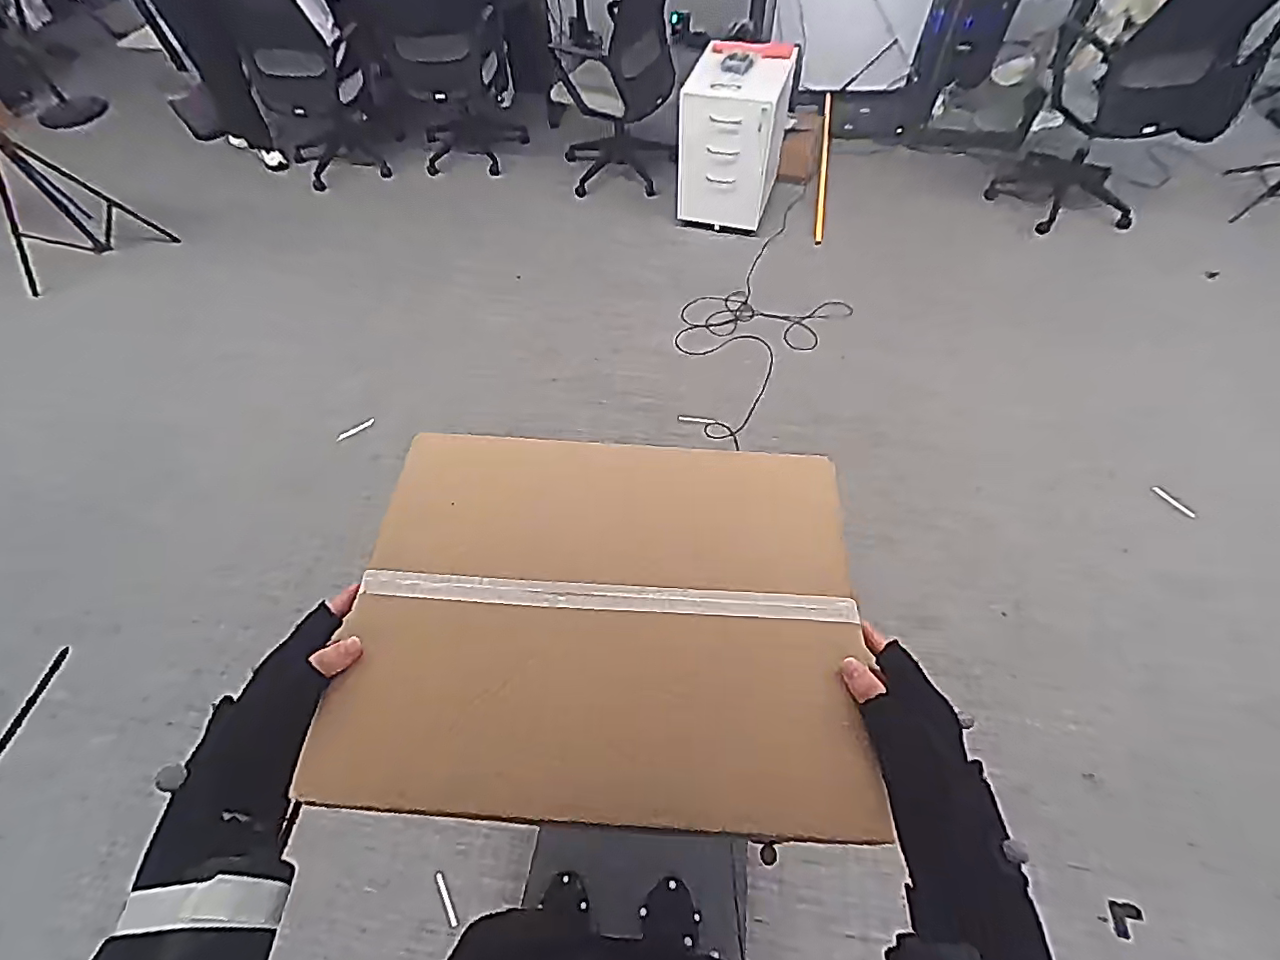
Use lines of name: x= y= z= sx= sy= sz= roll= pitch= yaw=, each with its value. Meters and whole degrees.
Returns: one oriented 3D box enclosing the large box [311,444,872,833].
large box: x=-0.028 y=0.180 z=0.581 sx=0.408 sy=0.320 sz=0.320 roll=3 pitch=57 yaw=1
